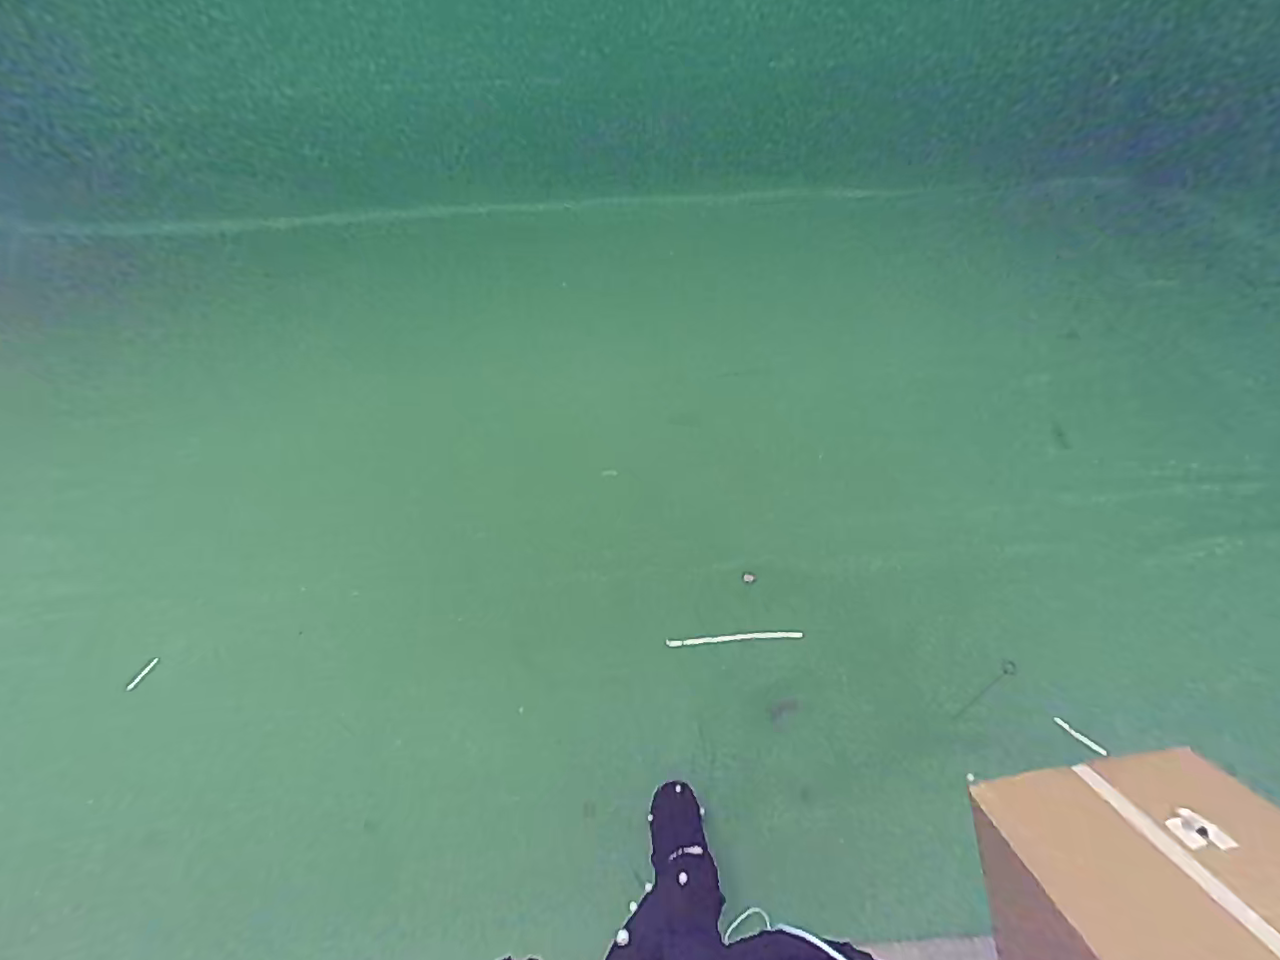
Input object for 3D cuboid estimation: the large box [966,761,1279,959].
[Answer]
[{"bbox_3d":[0.657,0.606,0.612,0.320,0.408,0.320,-12,96,5],"label":"large box"}]
